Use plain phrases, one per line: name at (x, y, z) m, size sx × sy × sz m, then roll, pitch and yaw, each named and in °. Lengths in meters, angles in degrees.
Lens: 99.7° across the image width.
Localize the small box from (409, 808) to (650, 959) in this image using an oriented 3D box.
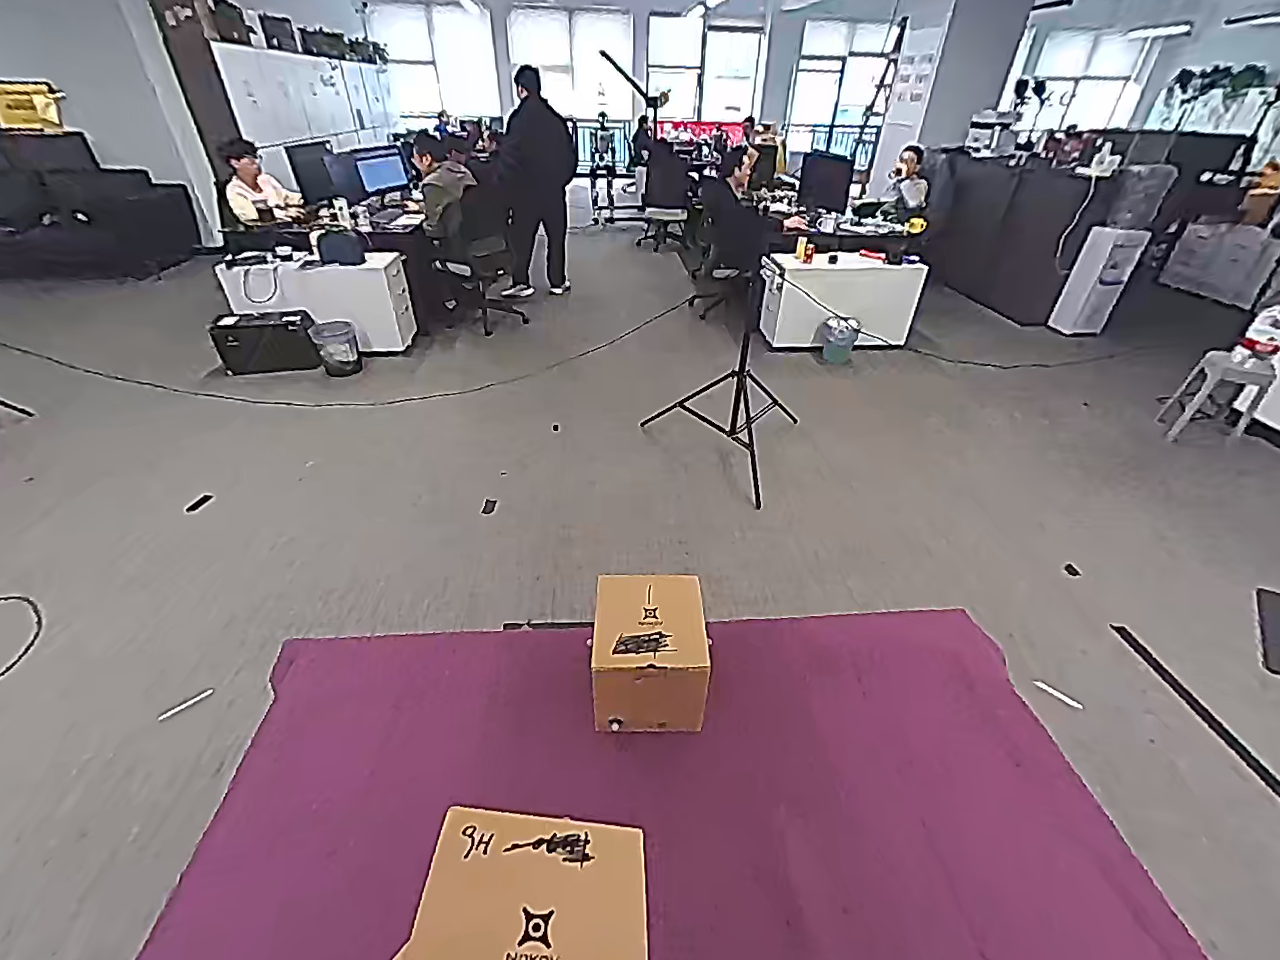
small box at (-0.090, 0.393, 0.411) m, size 0.168 × 0.176 × 0.179 m, roll 12°, pitch 25°, yaw -7°

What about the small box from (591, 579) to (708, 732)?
small box at (0.013, 0.278, 0.856) m, size 0.168 × 0.176 × 0.179 m, roll 1°, pitch 36°, yaw -1°
